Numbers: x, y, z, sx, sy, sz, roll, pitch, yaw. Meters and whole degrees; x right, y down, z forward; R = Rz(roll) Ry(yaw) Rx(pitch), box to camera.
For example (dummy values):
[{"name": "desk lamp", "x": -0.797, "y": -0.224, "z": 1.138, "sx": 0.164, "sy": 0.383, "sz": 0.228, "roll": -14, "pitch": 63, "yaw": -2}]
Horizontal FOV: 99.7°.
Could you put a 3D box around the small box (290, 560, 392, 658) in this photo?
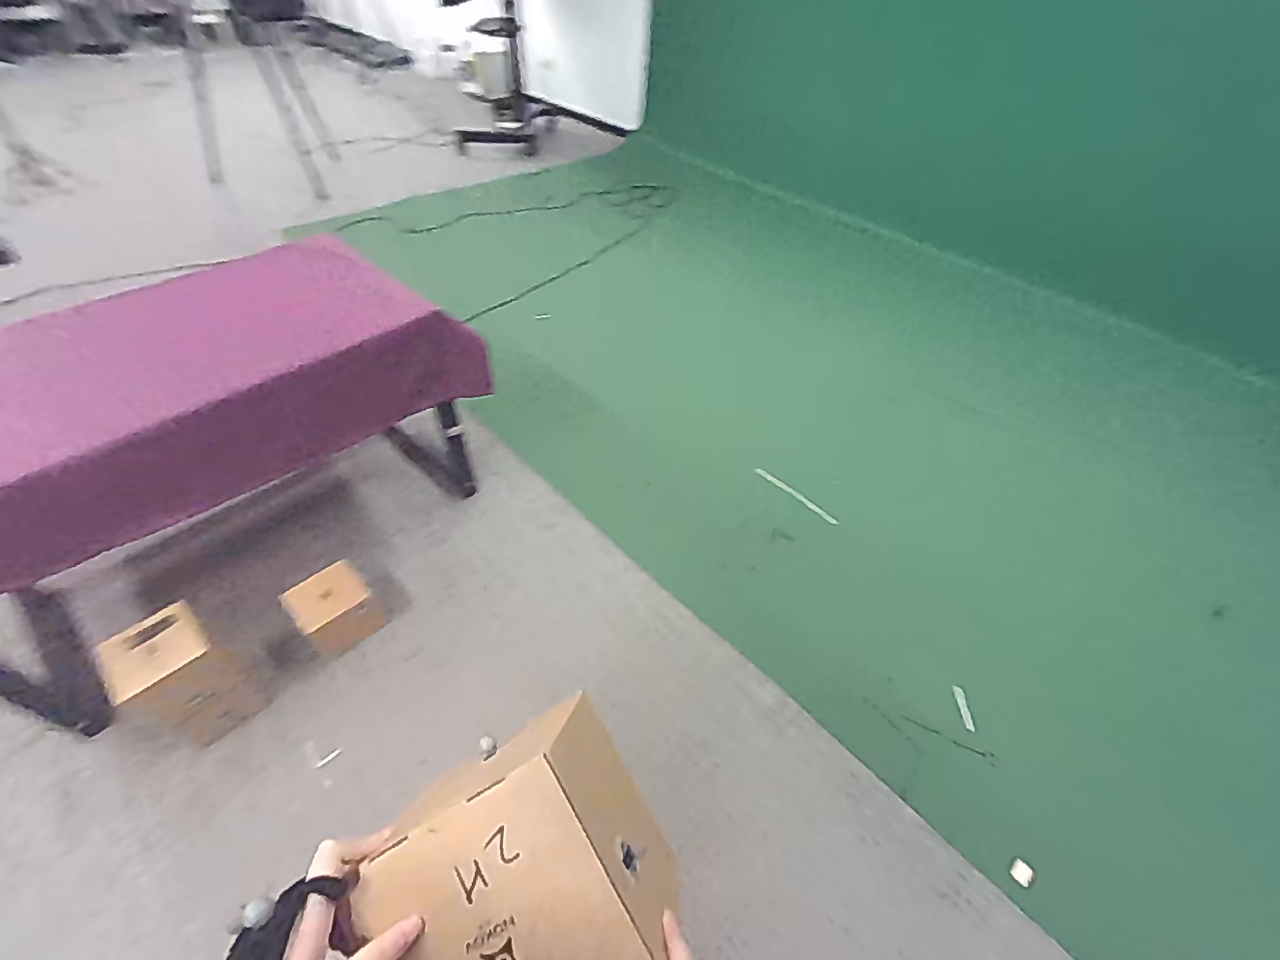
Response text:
[{"name": "small box", "x": -0.846, "y": 0.372, "z": 1.545, "sx": 0.168, "sy": 0.176, "sz": 0.179, "roll": 37, "pitch": 55, "yaw": 27}]
